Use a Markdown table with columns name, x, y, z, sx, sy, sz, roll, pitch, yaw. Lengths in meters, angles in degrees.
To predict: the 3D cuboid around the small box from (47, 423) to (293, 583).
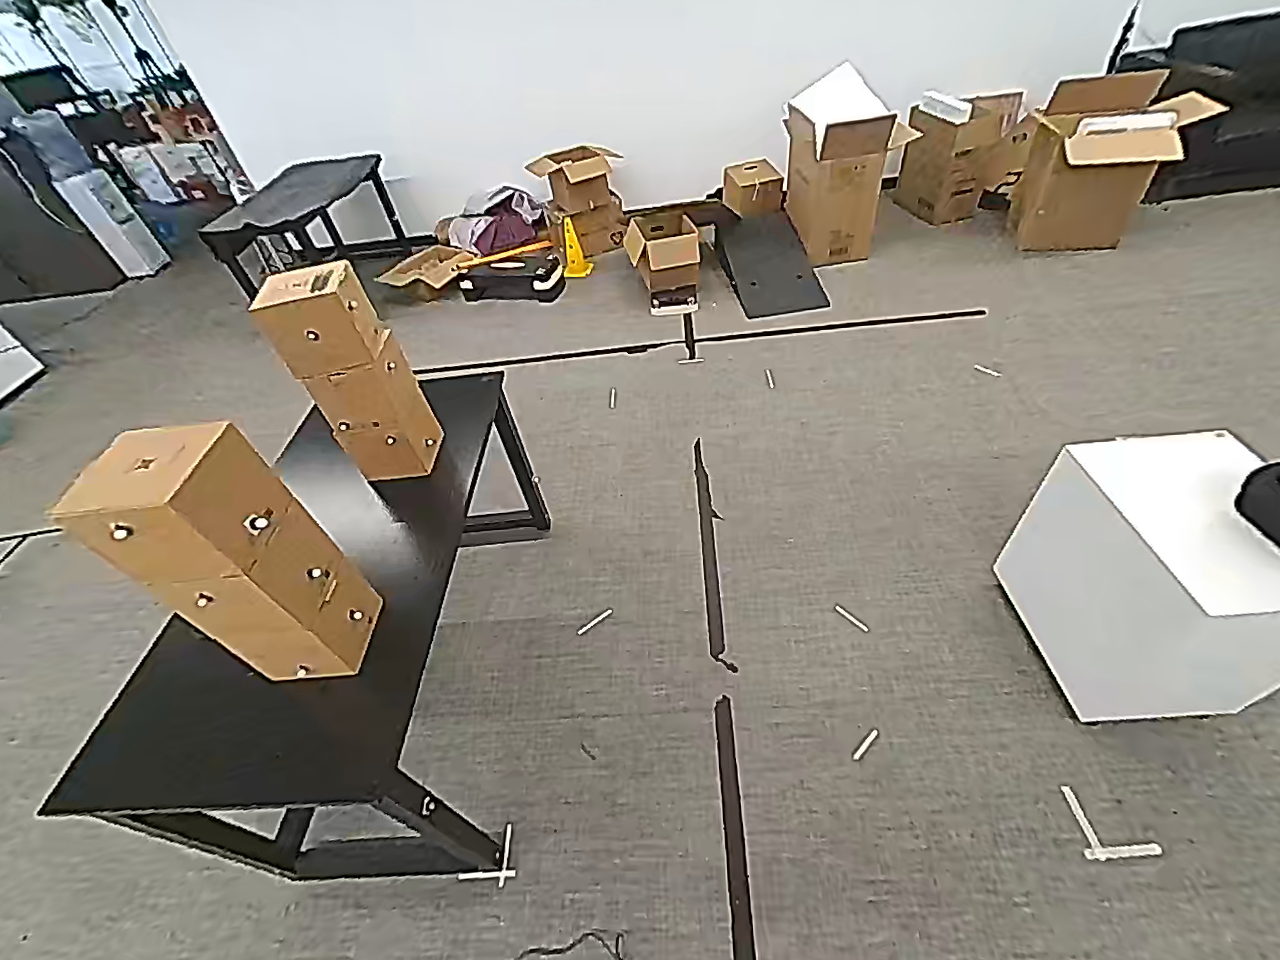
| name | x | y | z | sx | sy | sz | roll | pitch | yaw |
| --- | --- | --- | --- | --- | --- | --- | --- | --- | --- |
| small box | -0.670 | 0.038 | 0.800 | 0.179 | 0.176 | 0.168 | -6 | 46 | 3 |

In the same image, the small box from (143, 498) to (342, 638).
| name | x | y | z | sx | sy | sz | roll | pitch | yaw |
| --- | --- | --- | --- | --- | --- | --- | --- | --- | --- |
| small box | -0.652 | 0.153 | 0.914 | 0.179 | 0.176 | 0.168 | -6 | 45 | 4 |

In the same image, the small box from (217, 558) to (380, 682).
| name | x | y | z | sx | sy | sz | roll | pitch | yaw |
| --- | --- | --- | --- | --- | --- | --- | --- | --- | --- |
| small box | -0.630 | 0.269 | 1.029 | 0.179 | 0.176 | 0.168 | -6 | 45 | 3 |

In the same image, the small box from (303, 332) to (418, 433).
| name | x | y | z | sx | sy | sz | roll | pitch | yaw |
| --- | --- | --- | --- | --- | --- | --- | --- | --- | --- |
| small box | -0.655 | -0.226 | 1.294 | 0.168 | 0.176 | 0.179 | -8 | 44 | 1 |

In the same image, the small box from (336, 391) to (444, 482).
| name | x | y | z | sx | sy | sz | roll | pitch | yaw |
| --- | --- | --- | --- | --- | --- | --- | --- | --- | --- |
| small box | -0.642 | -0.110 | 1.410 | 0.179 | 0.176 | 0.168 | -6 | 45 | 4 |
